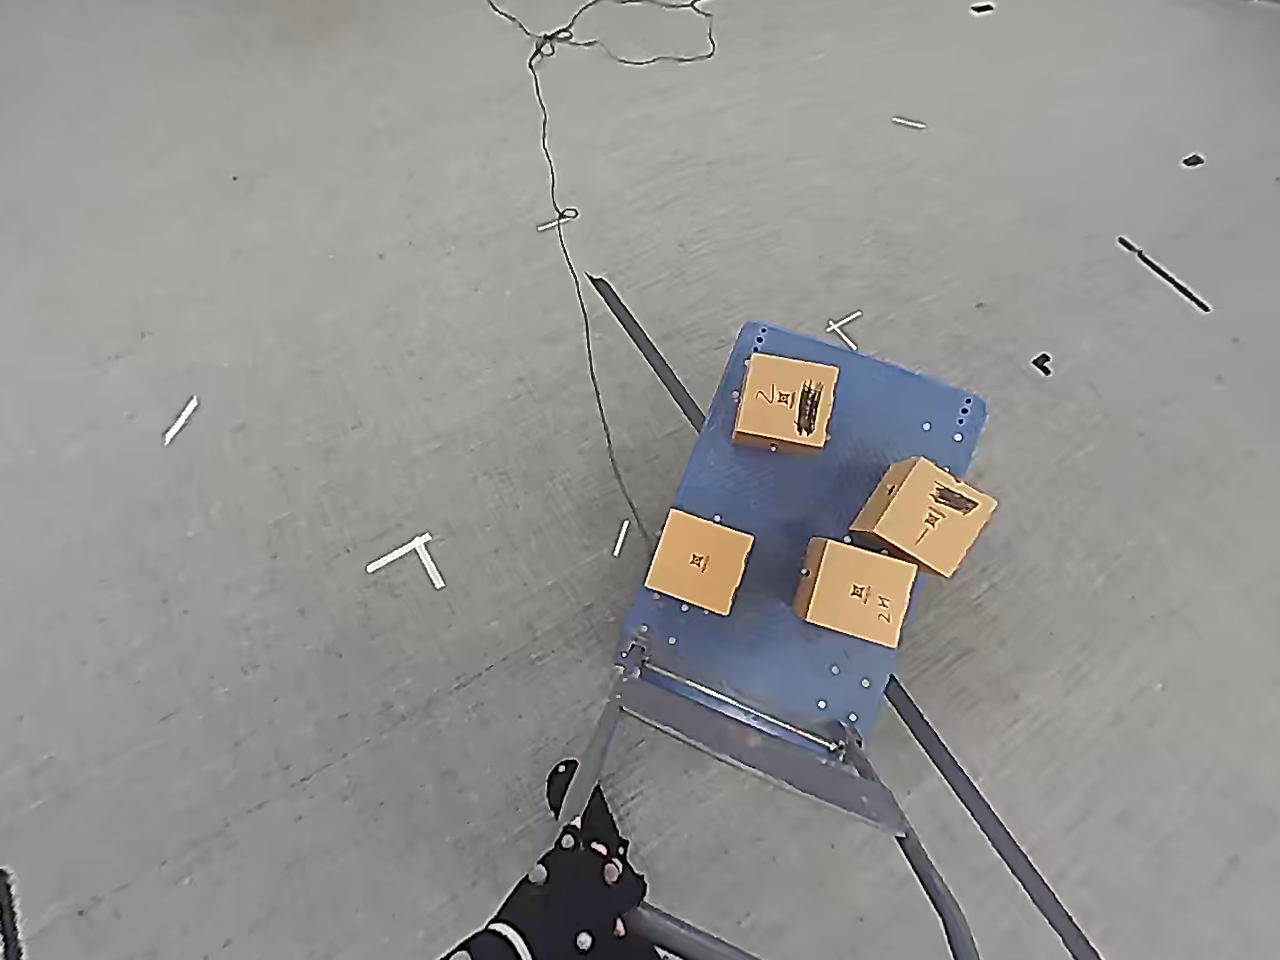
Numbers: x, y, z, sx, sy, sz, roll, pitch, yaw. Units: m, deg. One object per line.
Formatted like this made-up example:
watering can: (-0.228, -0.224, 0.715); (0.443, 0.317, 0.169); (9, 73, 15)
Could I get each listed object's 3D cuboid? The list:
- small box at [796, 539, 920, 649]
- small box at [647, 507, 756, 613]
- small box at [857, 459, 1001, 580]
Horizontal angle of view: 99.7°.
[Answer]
small box: (0.433, 0.223, 1.106); (0.179, 0.176, 0.168); (17, 88, 8)
small box: (0.128, 0.165, 1.146); (0.179, 0.176, 0.168); (19, 88, 6)
small box: (0.573, 0.078, 1.101); (0.168, 0.176, 0.179); (34, 91, 8)
